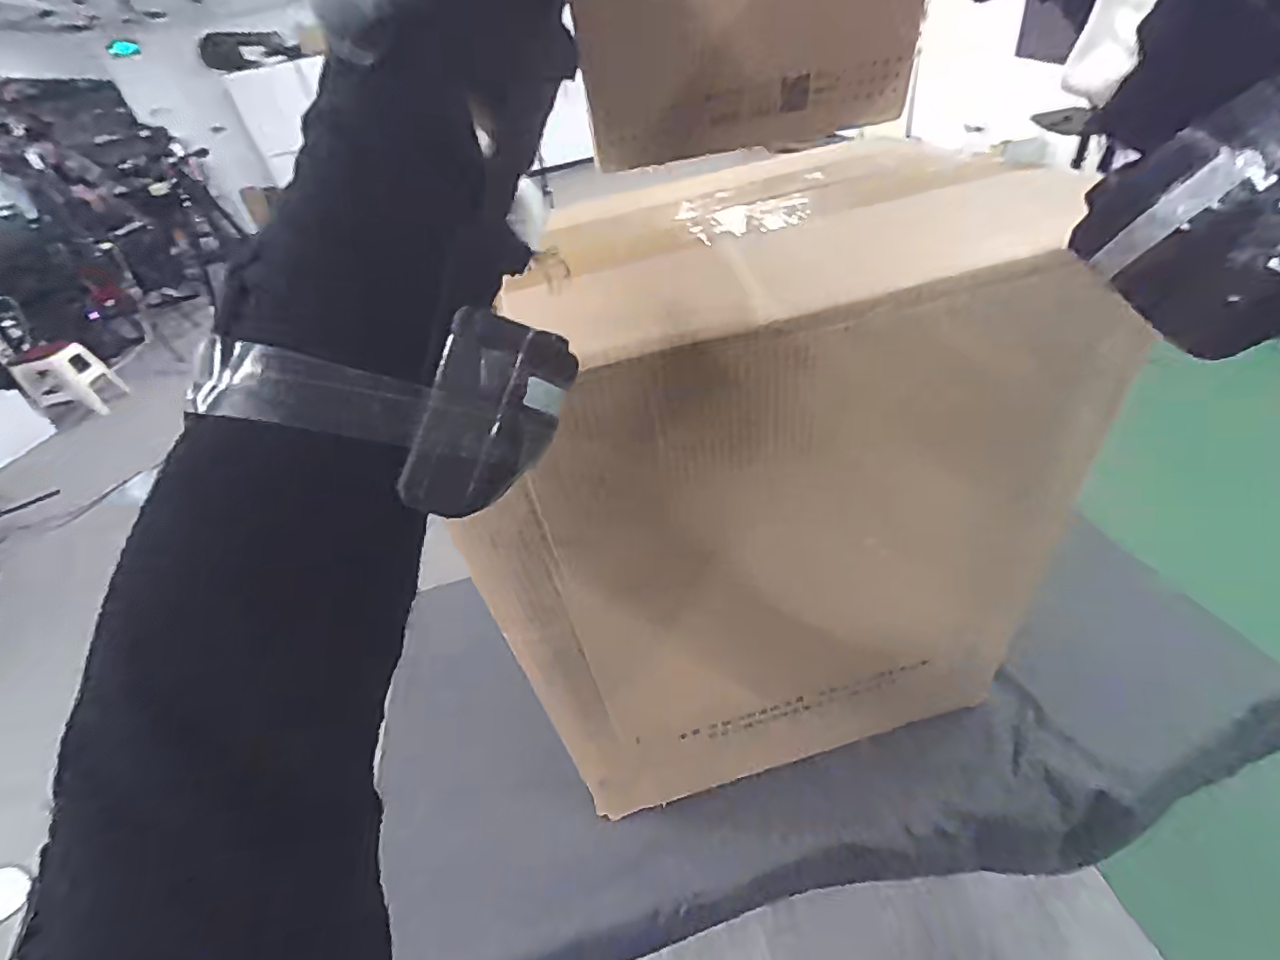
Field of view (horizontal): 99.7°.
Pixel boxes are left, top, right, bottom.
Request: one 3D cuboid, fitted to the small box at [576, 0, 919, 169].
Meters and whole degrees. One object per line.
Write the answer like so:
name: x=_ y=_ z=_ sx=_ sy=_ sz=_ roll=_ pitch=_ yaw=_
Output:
small box: x=0.045 y=-0.292 z=0.306 sx=0.168 sy=0.176 sz=0.179 roll=-10 pitch=41 yaw=2
